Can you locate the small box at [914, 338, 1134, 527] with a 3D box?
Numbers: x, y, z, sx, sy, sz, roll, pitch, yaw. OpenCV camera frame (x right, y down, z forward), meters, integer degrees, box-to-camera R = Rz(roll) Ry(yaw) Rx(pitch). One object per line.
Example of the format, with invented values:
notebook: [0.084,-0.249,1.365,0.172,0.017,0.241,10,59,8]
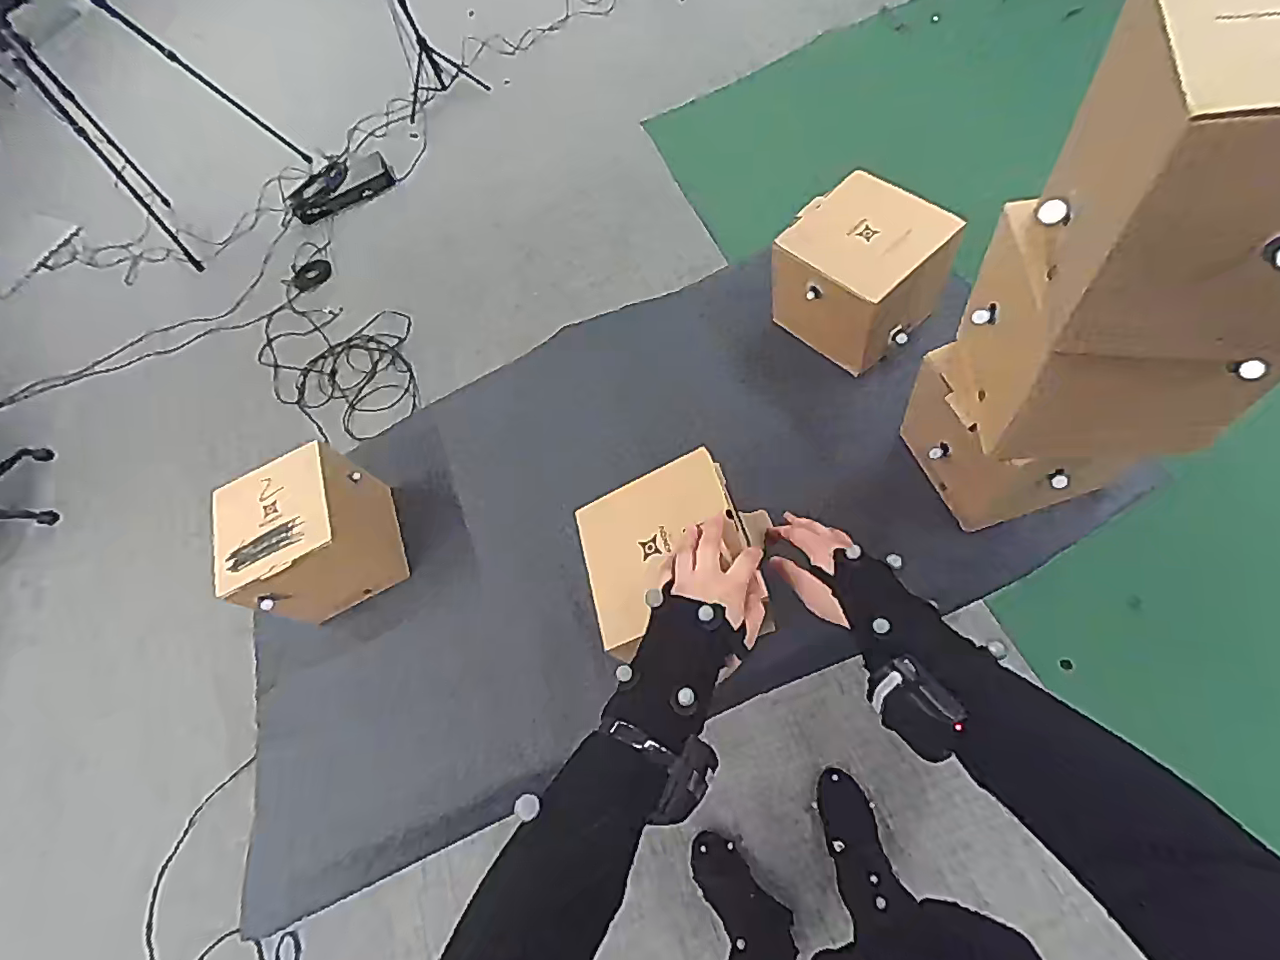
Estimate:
small box: [0.442,-0.068,0.625,0.179,0.176,0.168,-20,59,5]

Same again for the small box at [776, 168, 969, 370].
small box: [0.312,-0.290,0.768,0.168,0.176,0.179,-41,64,-4]

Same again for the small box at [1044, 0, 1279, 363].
small box: [0.379,-0.187,0.324,0.179,0.176,0.168,8,65,19]

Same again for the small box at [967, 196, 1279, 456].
small box: [0.411,-0.131,0.477,0.179,0.176,0.168,-1,62,14]

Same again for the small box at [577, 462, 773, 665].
small box: [0.047,0.109,0.642,0.179,0.176,0.168,-20,62,6]
